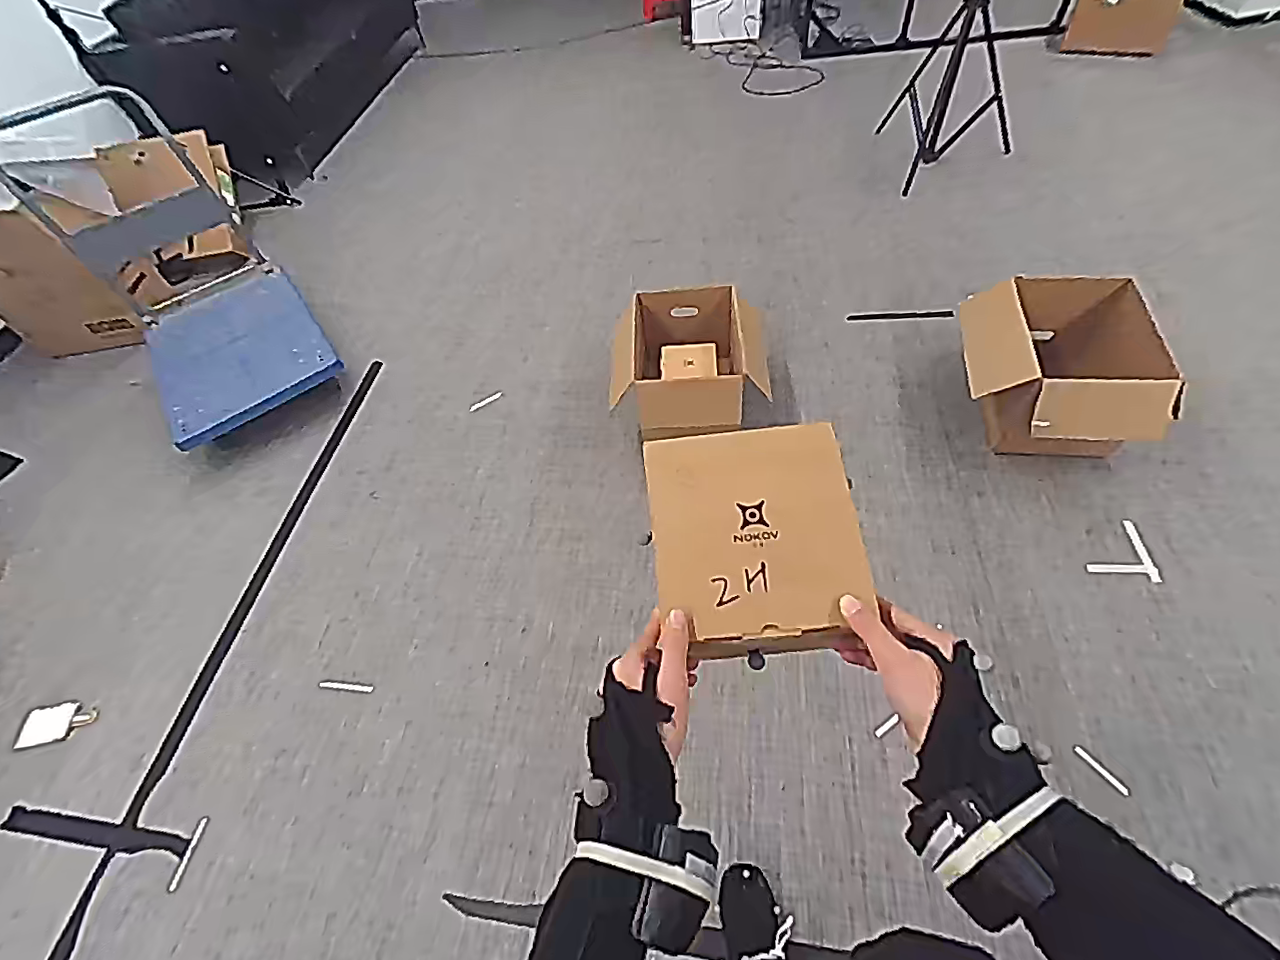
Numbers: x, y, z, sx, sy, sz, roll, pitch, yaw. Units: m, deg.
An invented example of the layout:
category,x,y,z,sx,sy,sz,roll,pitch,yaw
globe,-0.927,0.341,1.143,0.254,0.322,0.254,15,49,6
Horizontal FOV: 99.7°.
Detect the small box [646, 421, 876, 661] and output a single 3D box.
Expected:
category,x,y,z,sx,sy,sz,roll,pitch,yaw
small box,0.096,0.066,0.511,0.168,0.176,0.179,-6,66,3
